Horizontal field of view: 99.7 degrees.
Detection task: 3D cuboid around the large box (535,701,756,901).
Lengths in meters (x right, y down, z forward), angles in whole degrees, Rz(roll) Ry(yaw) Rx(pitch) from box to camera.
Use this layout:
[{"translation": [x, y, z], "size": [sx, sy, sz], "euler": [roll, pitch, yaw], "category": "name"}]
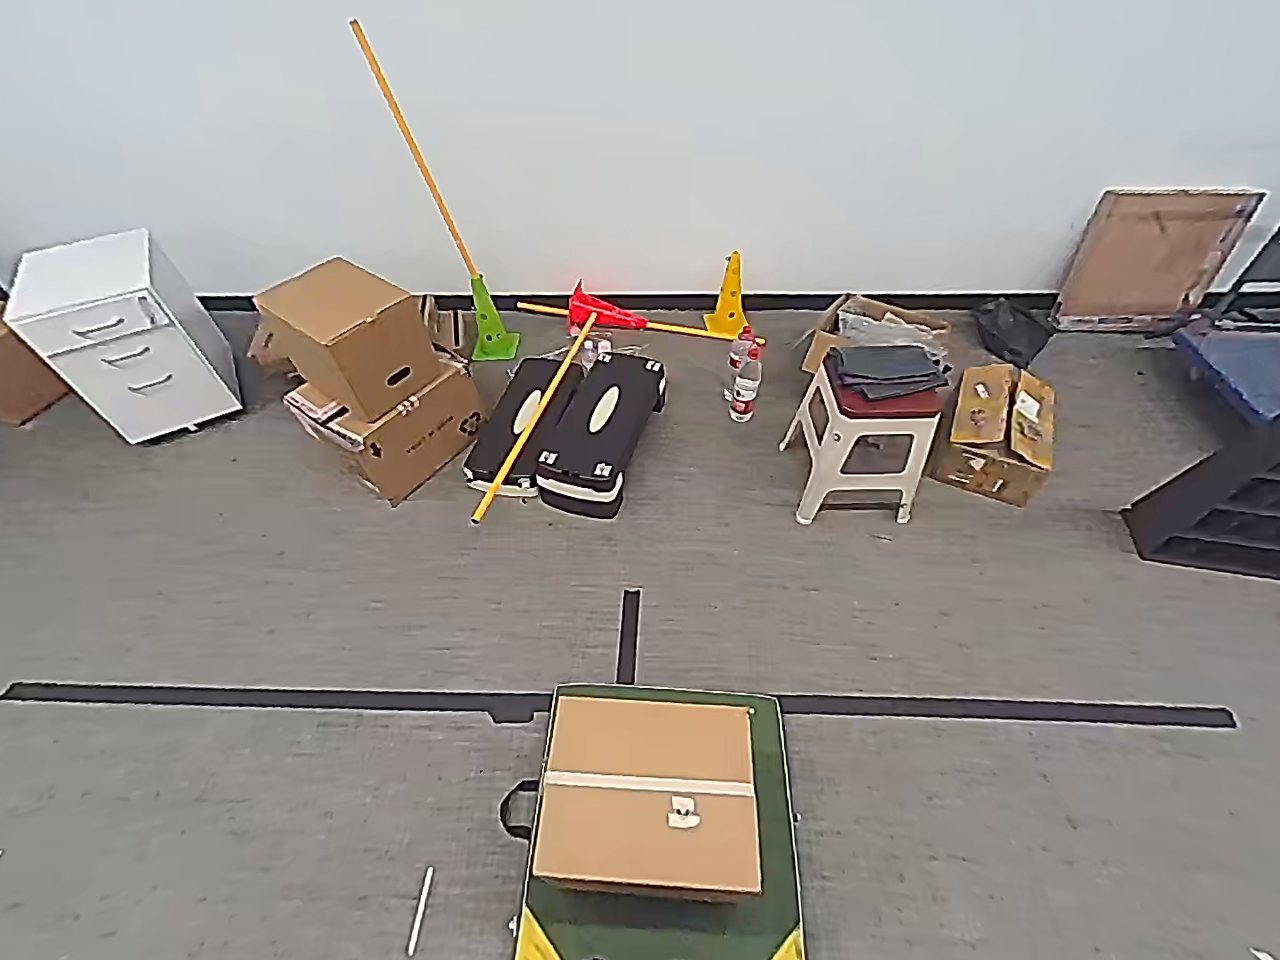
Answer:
[{"translation": [0.013, 0.694, 1.165], "size": [0.408, 0.320, 0.320], "euler": [3, 50, 2], "category": "large box"}]
